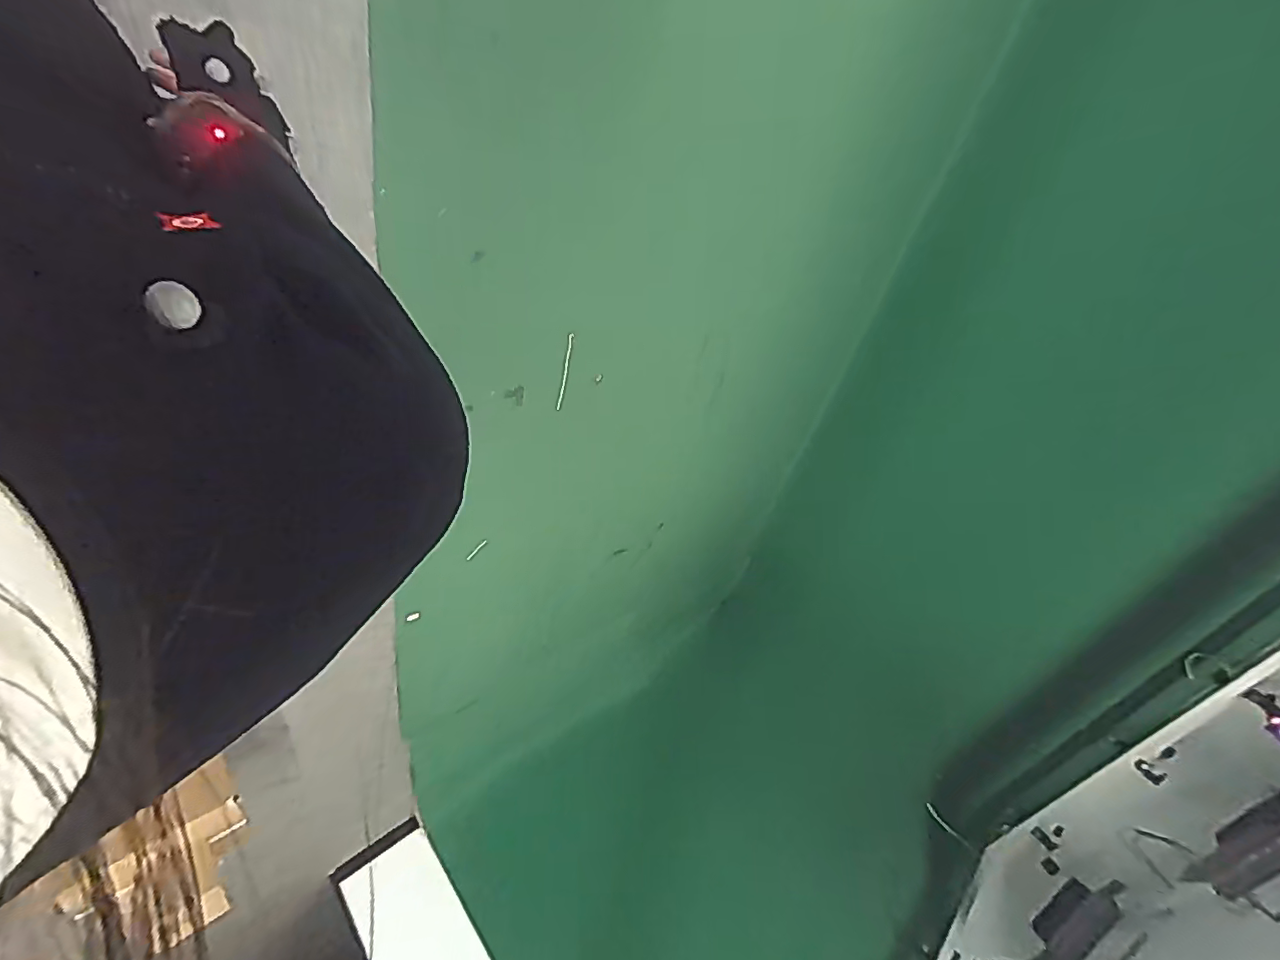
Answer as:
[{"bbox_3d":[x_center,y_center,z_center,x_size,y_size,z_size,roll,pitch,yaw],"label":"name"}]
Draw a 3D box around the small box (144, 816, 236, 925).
[{"bbox_3d":[-1.364,1.175,1.636,0.179,0.176,0.168,-20,134,-39],"label":"small box"}]
